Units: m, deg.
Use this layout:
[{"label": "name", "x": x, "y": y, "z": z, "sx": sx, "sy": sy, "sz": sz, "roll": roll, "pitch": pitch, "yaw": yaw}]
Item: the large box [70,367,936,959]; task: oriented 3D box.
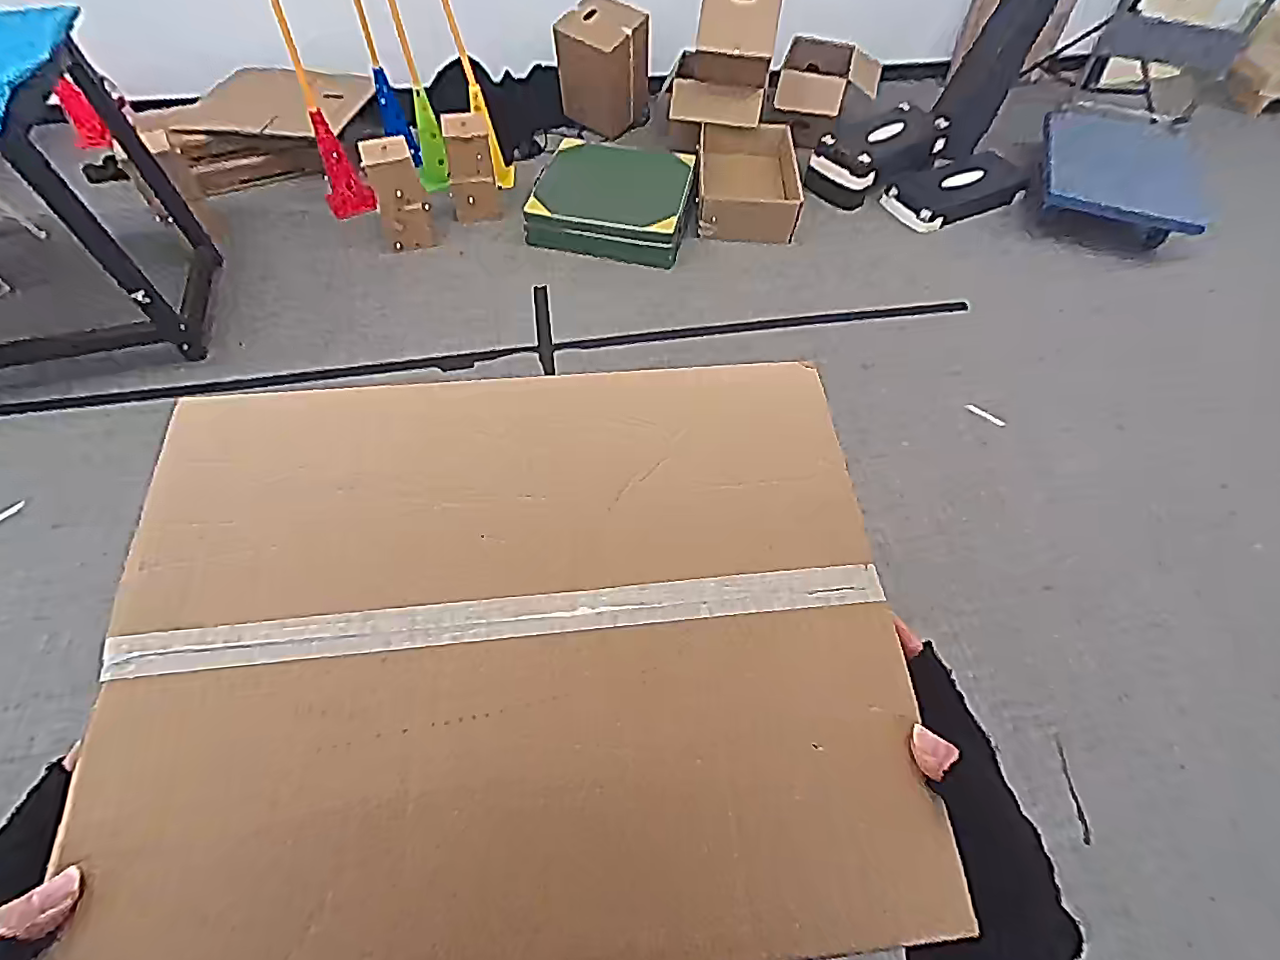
[{"label": "large box", "x": -0.074, "y": 0.136, "z": 0.441, "sx": 0.408, "sy": 0.320, "sz": 0.320, "roll": -4, "pitch": 66, "yaw": -5}]
